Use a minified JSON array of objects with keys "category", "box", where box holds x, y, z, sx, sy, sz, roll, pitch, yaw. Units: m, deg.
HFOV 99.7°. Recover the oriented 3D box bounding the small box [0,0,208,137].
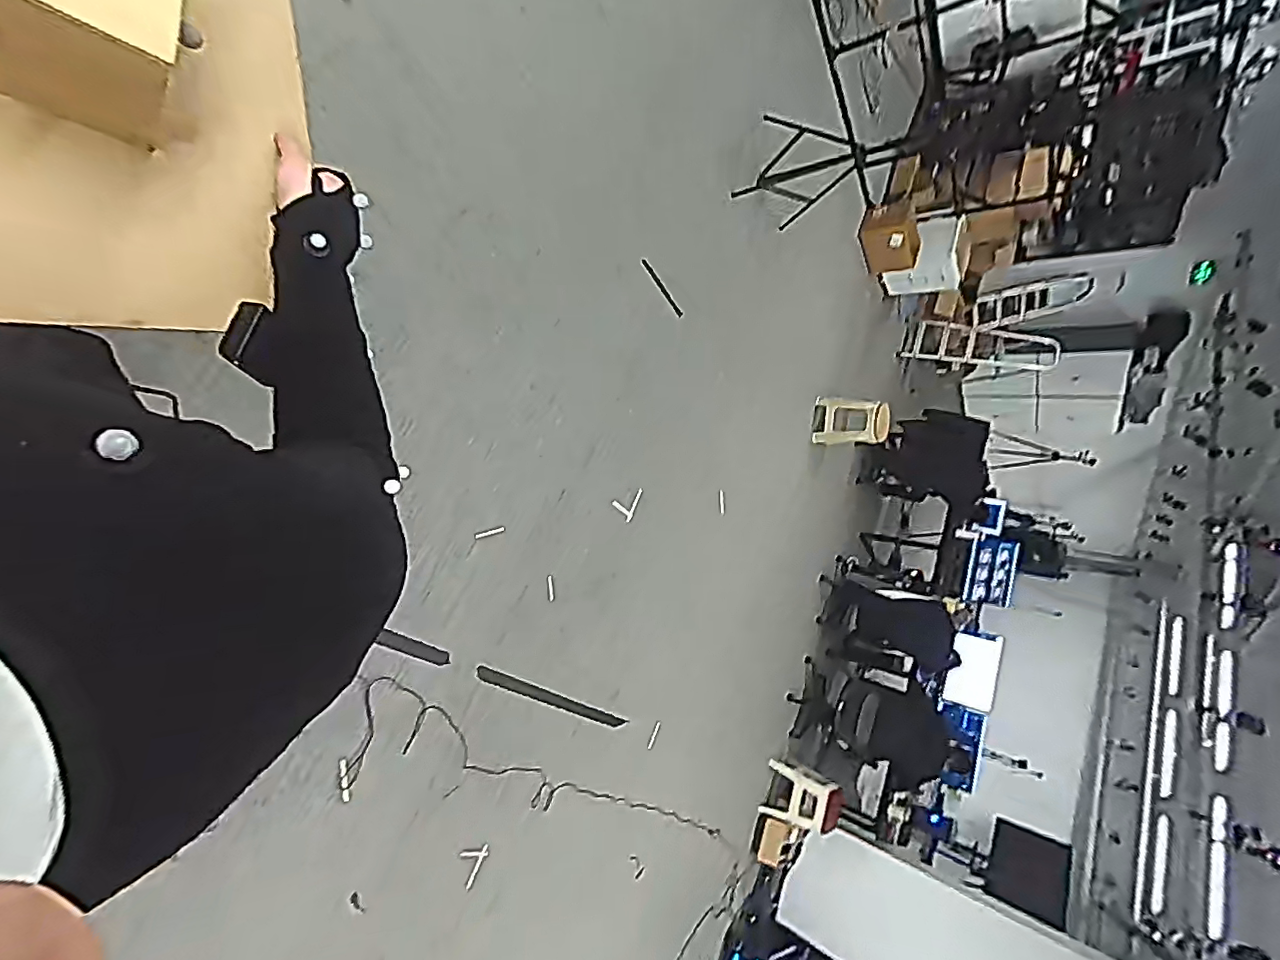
[{"category":"small box","box":[-0.405,-0.364,0.357,0.179,0.176,0.168,7,91,-45]}]
